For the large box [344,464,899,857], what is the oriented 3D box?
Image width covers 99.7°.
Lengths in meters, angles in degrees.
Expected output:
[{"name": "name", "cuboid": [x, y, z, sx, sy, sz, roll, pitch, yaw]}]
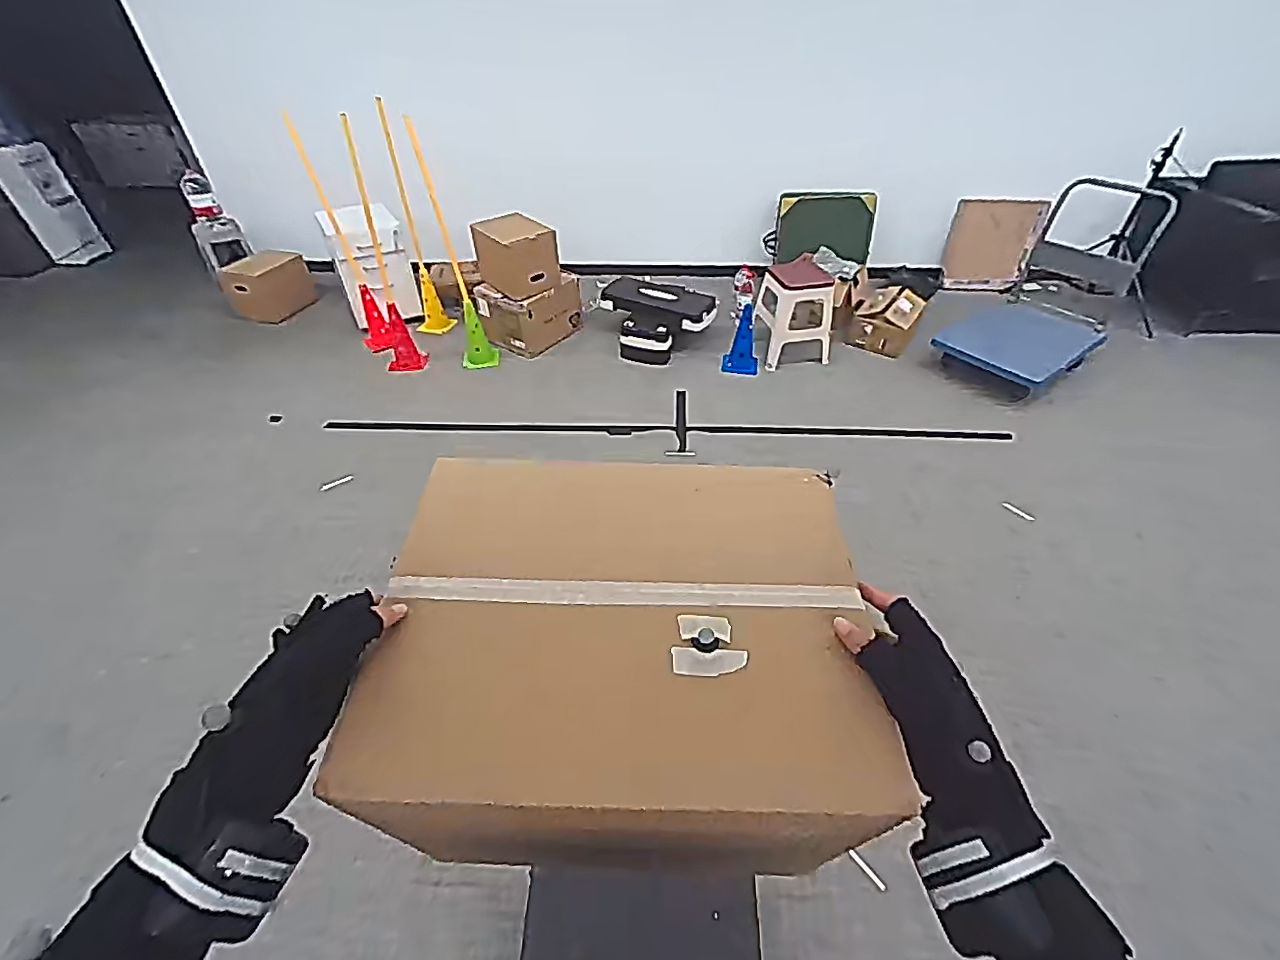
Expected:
[{"name": "large box", "cuboid": [-0.015, 0.201, 0.589, 0.408, 0.320, 0.320, 2, 49, 0]}]
